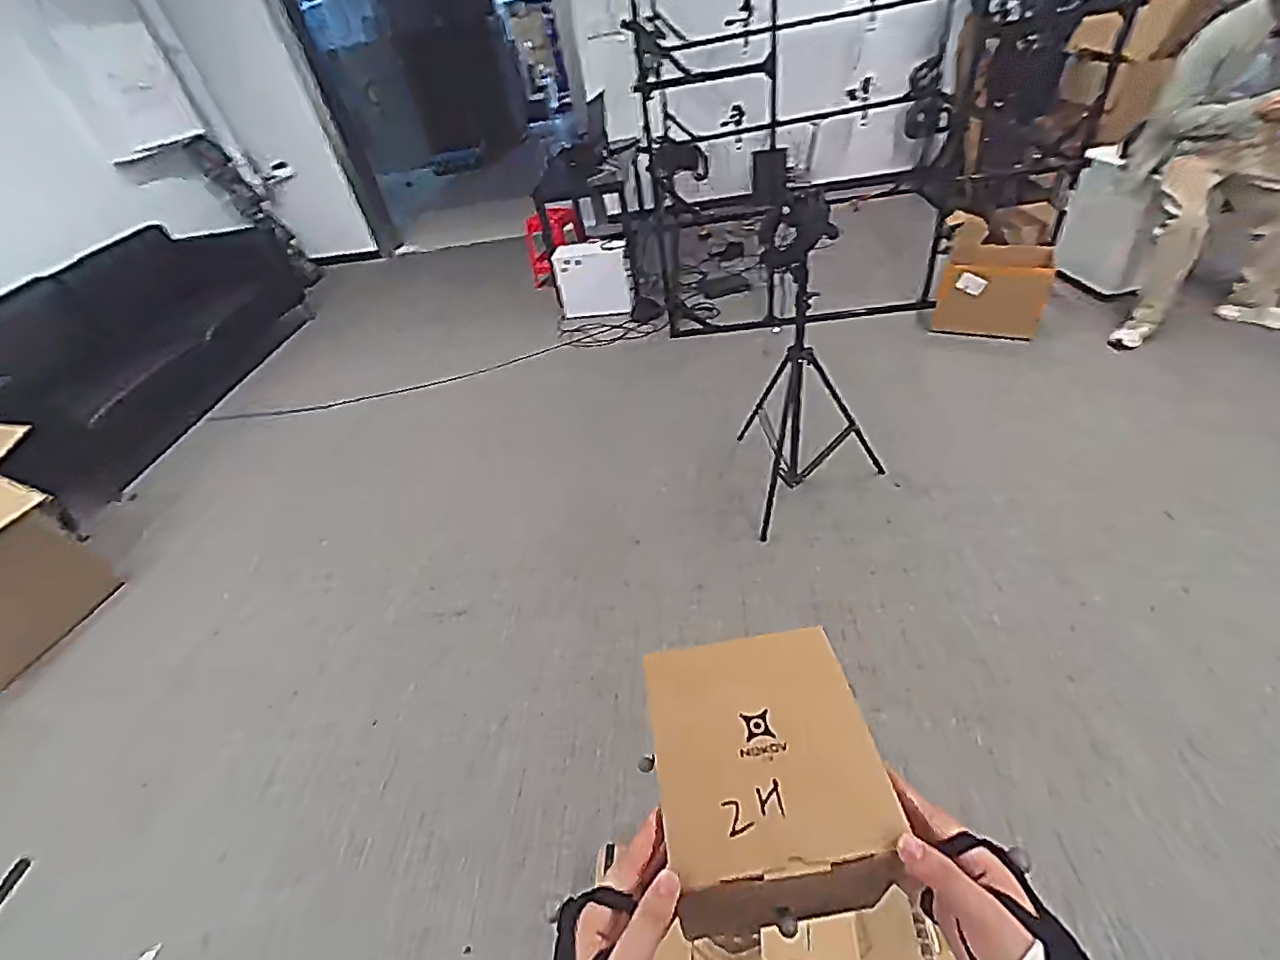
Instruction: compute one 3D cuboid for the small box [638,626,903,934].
[{"bbox_3d":[0.093,0.258,0.472,0.168,0.176,0.179,-9,41,-1],"label":"small box"}]
